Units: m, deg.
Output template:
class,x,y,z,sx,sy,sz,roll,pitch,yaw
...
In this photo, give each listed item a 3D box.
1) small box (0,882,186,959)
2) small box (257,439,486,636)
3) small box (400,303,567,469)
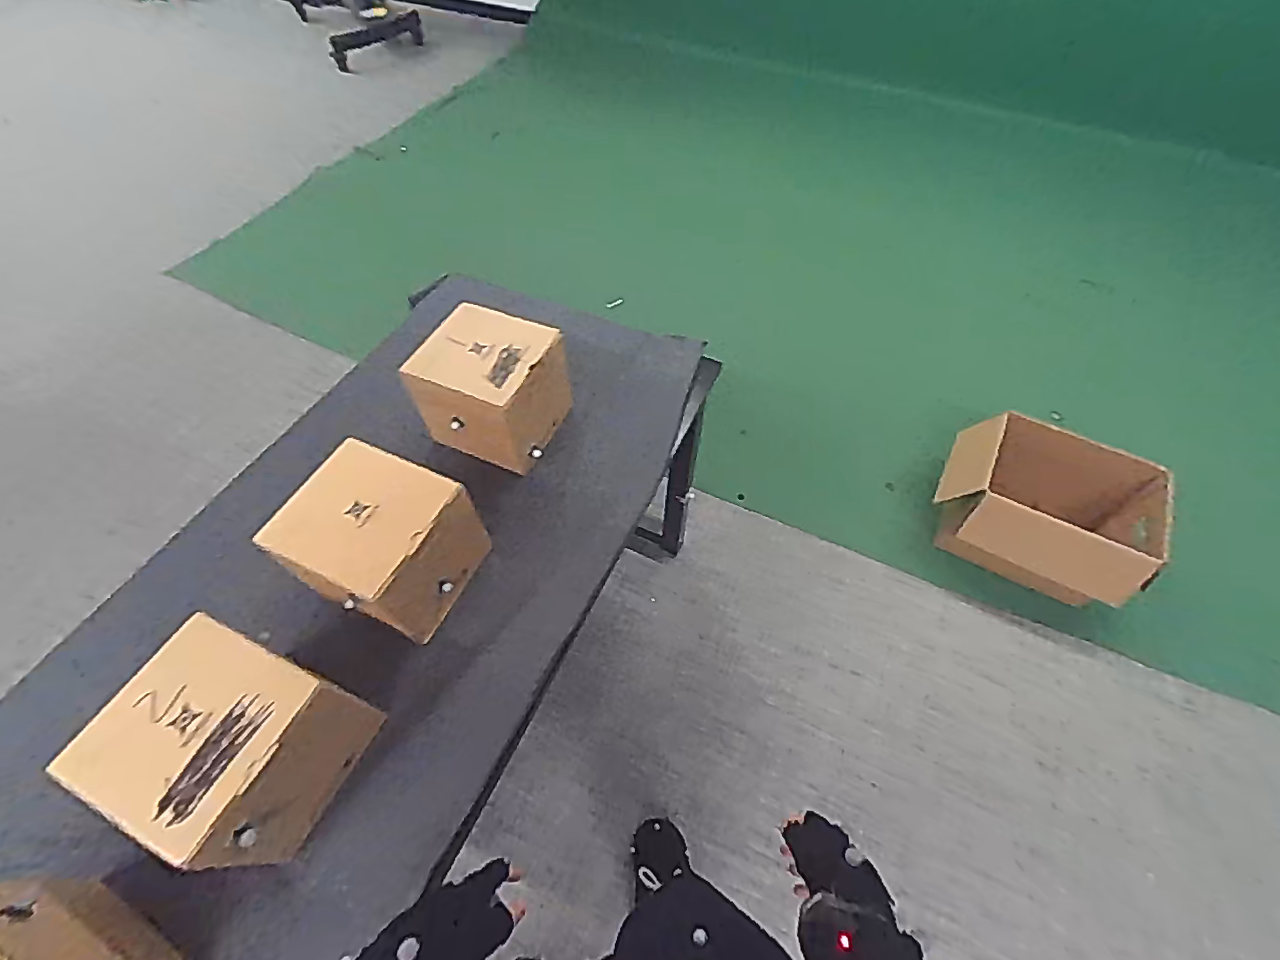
class,x,y,z,sx,sy,sz,roll,pitch,yaw
small box,-0.535,0.464,0.443,0.179,0.176,0.168,23,59,15
small box,-0.331,0.081,0.707,0.179,0.176,0.168,21,58,12
small box,-0.230,-0.141,0.851,0.179,0.176,0.168,20,59,13
